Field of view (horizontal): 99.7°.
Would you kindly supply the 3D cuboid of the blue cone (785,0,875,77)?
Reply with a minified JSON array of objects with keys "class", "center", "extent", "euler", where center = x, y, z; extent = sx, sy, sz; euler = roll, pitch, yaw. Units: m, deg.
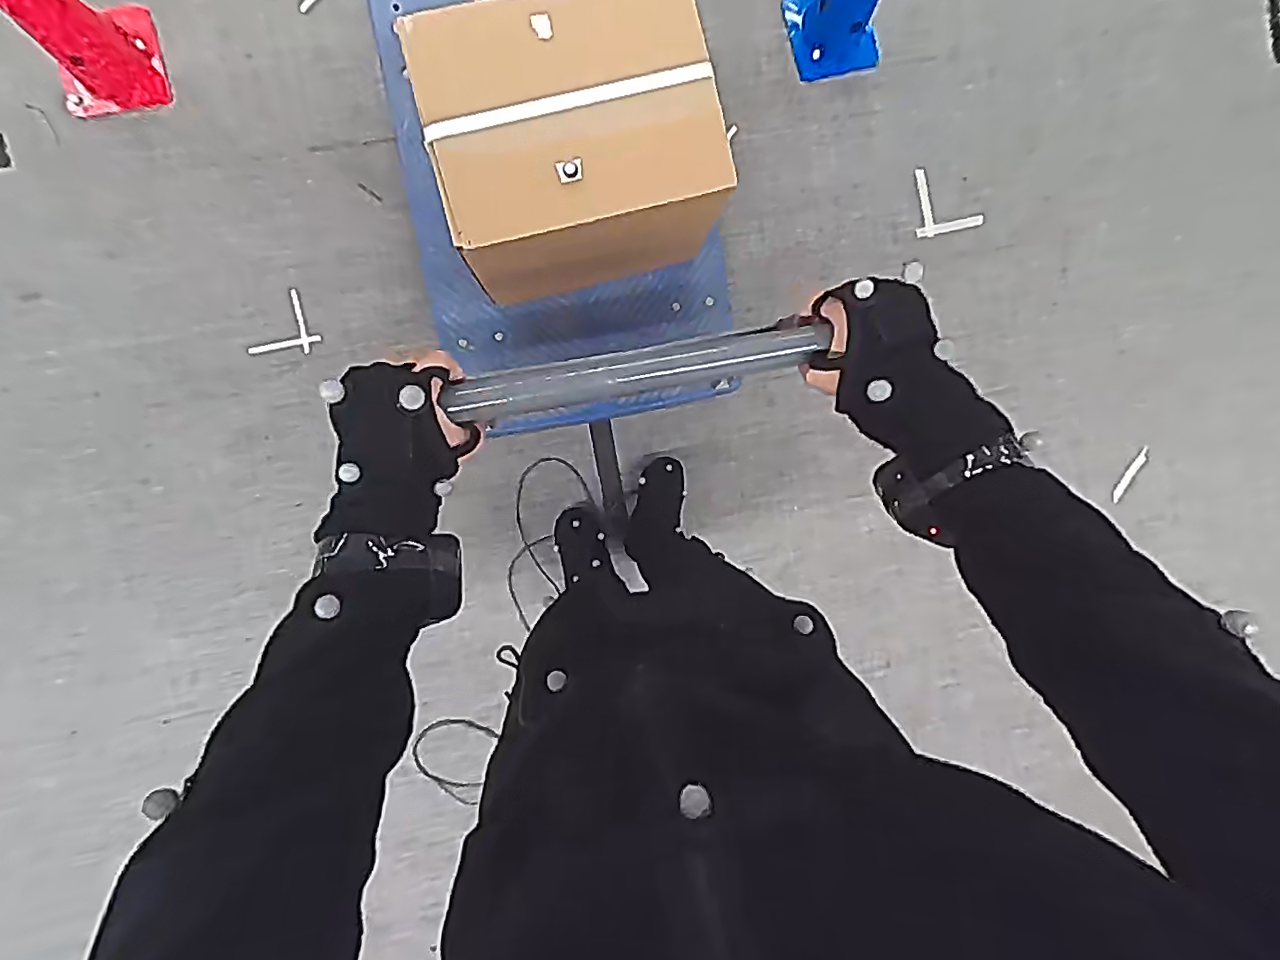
[{"class":"blue cone","center":[0.457,-1.030,1.084],"extent":[0.193,0.380,0.192],"euler":[-15,94,-5]}]
